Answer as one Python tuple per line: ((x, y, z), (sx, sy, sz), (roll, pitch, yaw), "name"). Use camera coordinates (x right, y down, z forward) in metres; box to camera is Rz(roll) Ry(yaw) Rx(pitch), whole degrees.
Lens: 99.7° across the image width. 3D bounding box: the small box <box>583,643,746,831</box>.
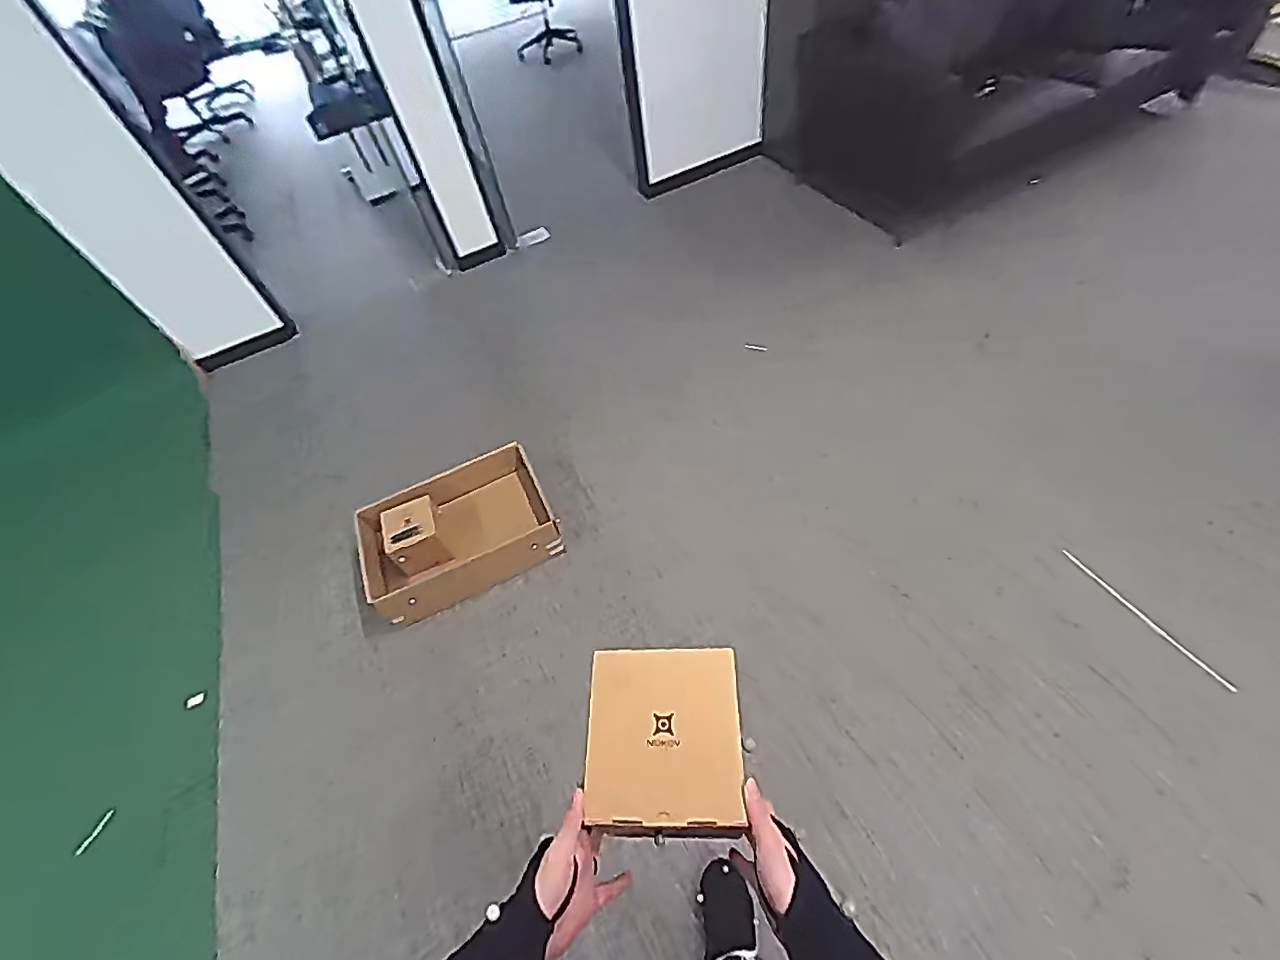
((0.031, 0.309, 0.647), (0.168, 0.176, 0.179), (-3, 54, 5), "small box")
